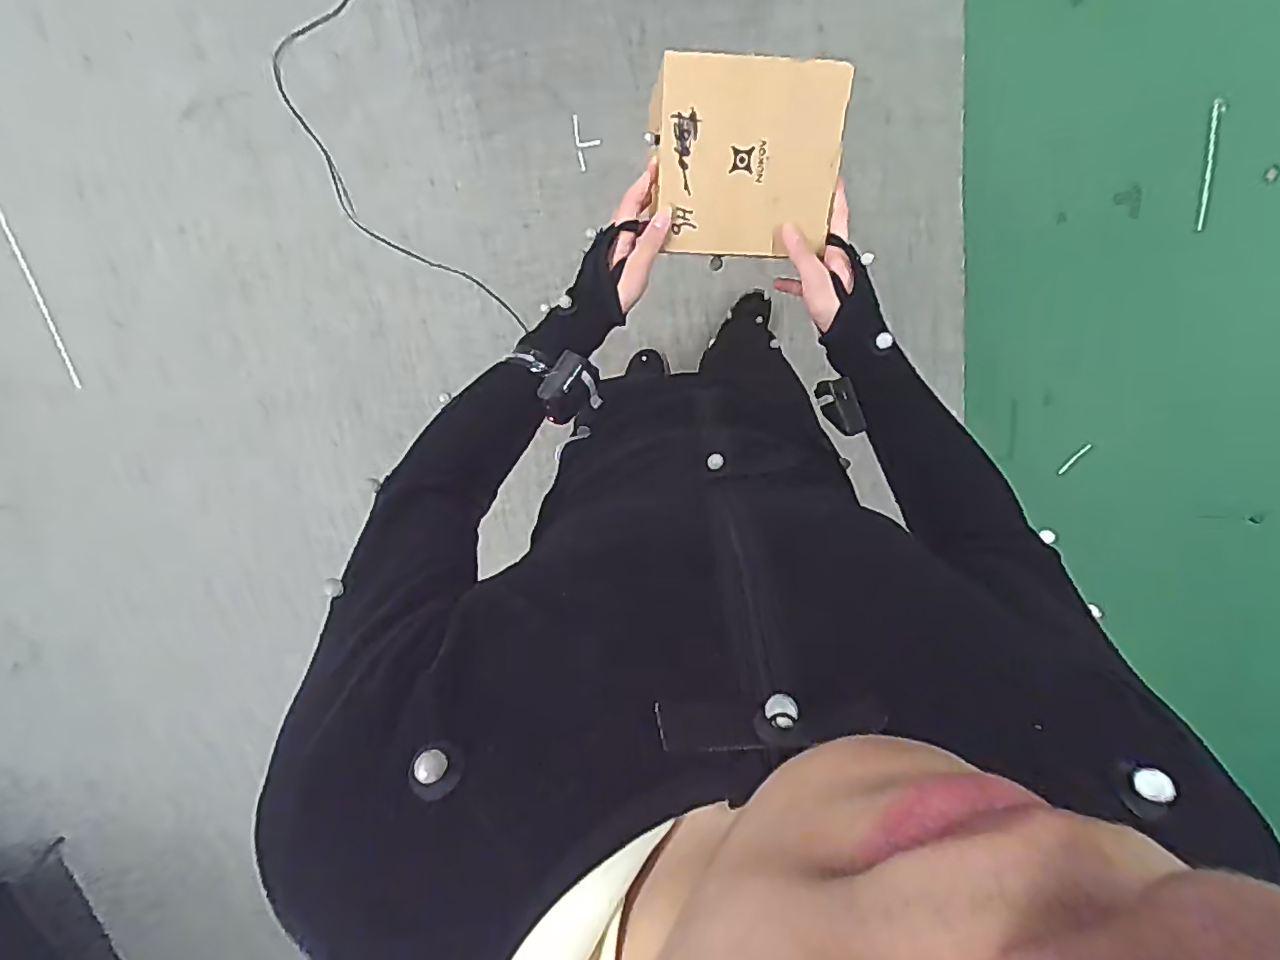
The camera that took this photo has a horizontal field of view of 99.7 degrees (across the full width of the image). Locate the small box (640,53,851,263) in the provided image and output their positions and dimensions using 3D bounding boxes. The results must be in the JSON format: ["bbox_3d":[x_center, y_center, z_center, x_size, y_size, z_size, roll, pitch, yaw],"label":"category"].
[{"bbox_3d":[0.097,-0.330,0.588,0.179,0.176,0.168,1,112,-4],"label":"small box"}]

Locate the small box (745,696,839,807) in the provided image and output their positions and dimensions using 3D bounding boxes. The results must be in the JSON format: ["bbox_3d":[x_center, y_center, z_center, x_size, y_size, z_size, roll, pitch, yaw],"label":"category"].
[{"bbox_3d":[0.359,0.642,1.294,0.179,0.176,0.168,-8,105,3],"label":"small box"}]
